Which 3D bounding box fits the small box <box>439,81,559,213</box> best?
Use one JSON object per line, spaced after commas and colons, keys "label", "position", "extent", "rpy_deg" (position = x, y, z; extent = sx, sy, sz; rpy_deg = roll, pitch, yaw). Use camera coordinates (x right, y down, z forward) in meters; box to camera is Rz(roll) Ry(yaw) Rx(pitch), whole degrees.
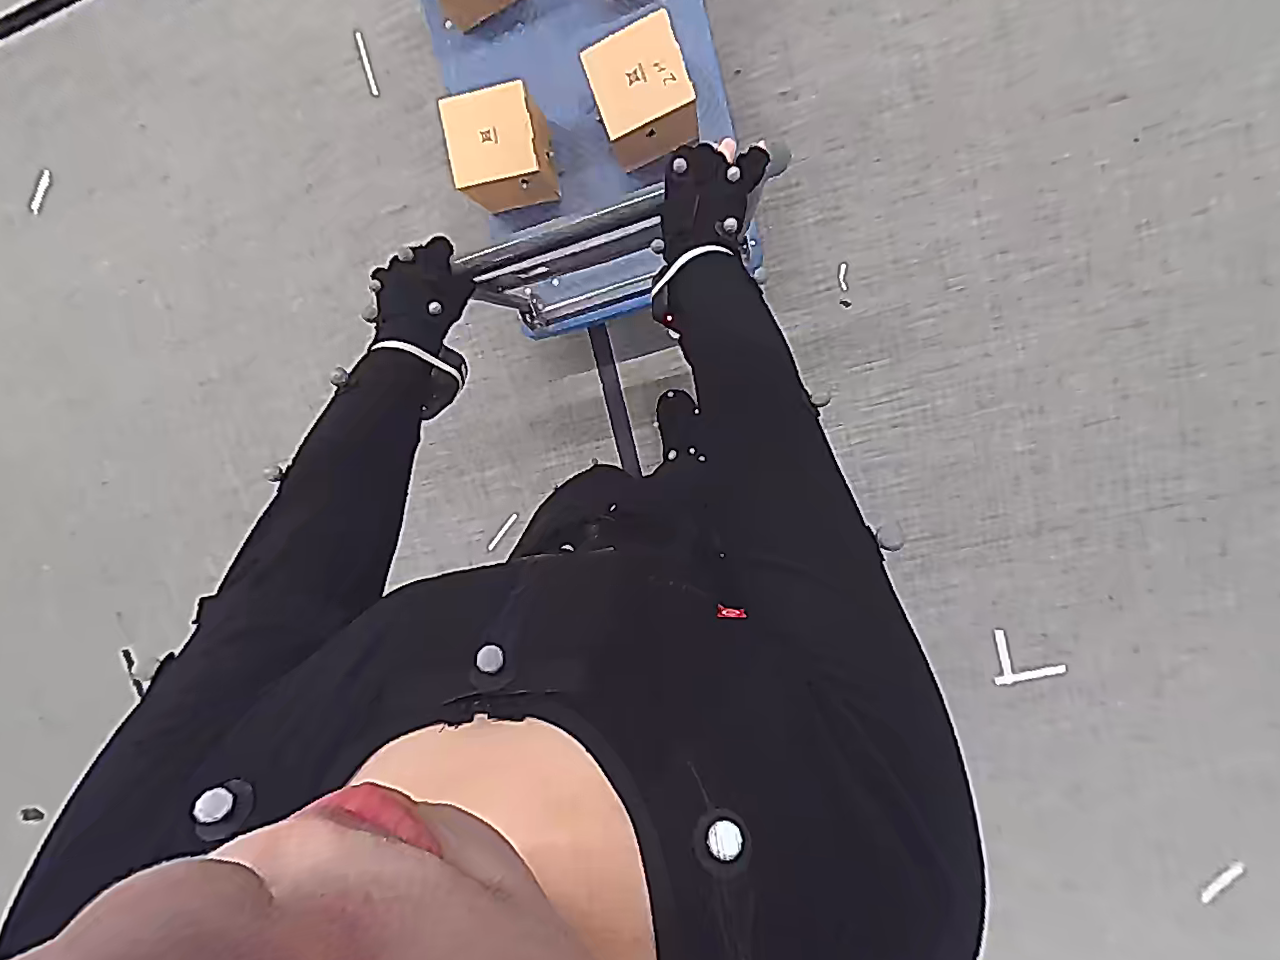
{"label": "small box", "position": [-0.284, -0.677, 1.121], "extent": [0.179, 0.176, 0.168], "rpy_deg": [-8, 99, 8]}

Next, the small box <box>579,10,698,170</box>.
{"label": "small box", "position": [0.006, -0.751, 1.066], "extent": [0.179, 0.176, 0.168], "rpy_deg": [-20, 98, 11]}
